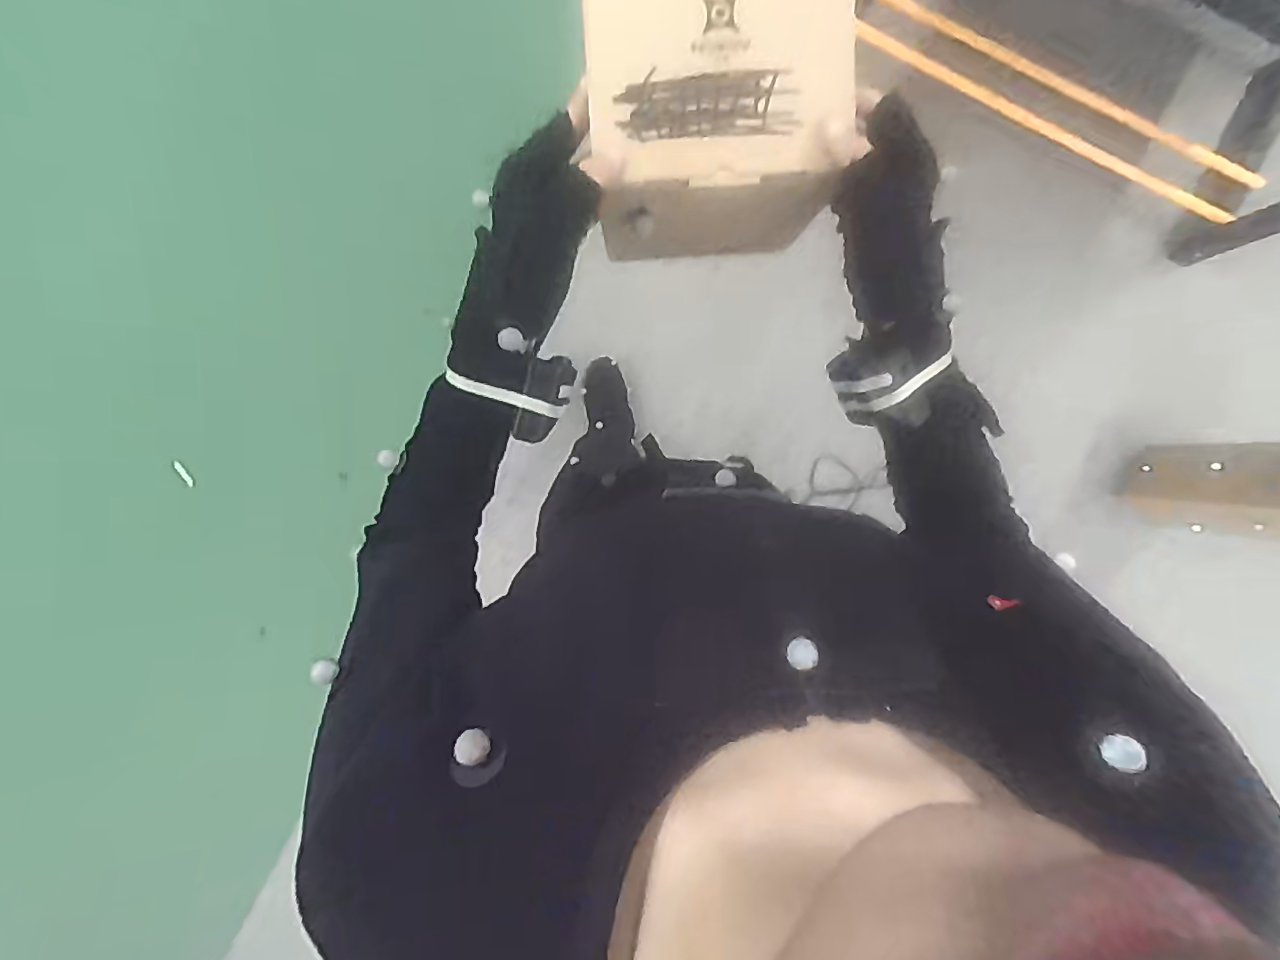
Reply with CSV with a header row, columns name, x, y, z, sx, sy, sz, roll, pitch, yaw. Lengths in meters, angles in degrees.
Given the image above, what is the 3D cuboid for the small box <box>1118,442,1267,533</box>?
name,x,y,z,sx,sy,sz,roll,pitch,yaw
small box,1.418,0.014,1.400,0.179,0.176,0.168,32,91,-1
